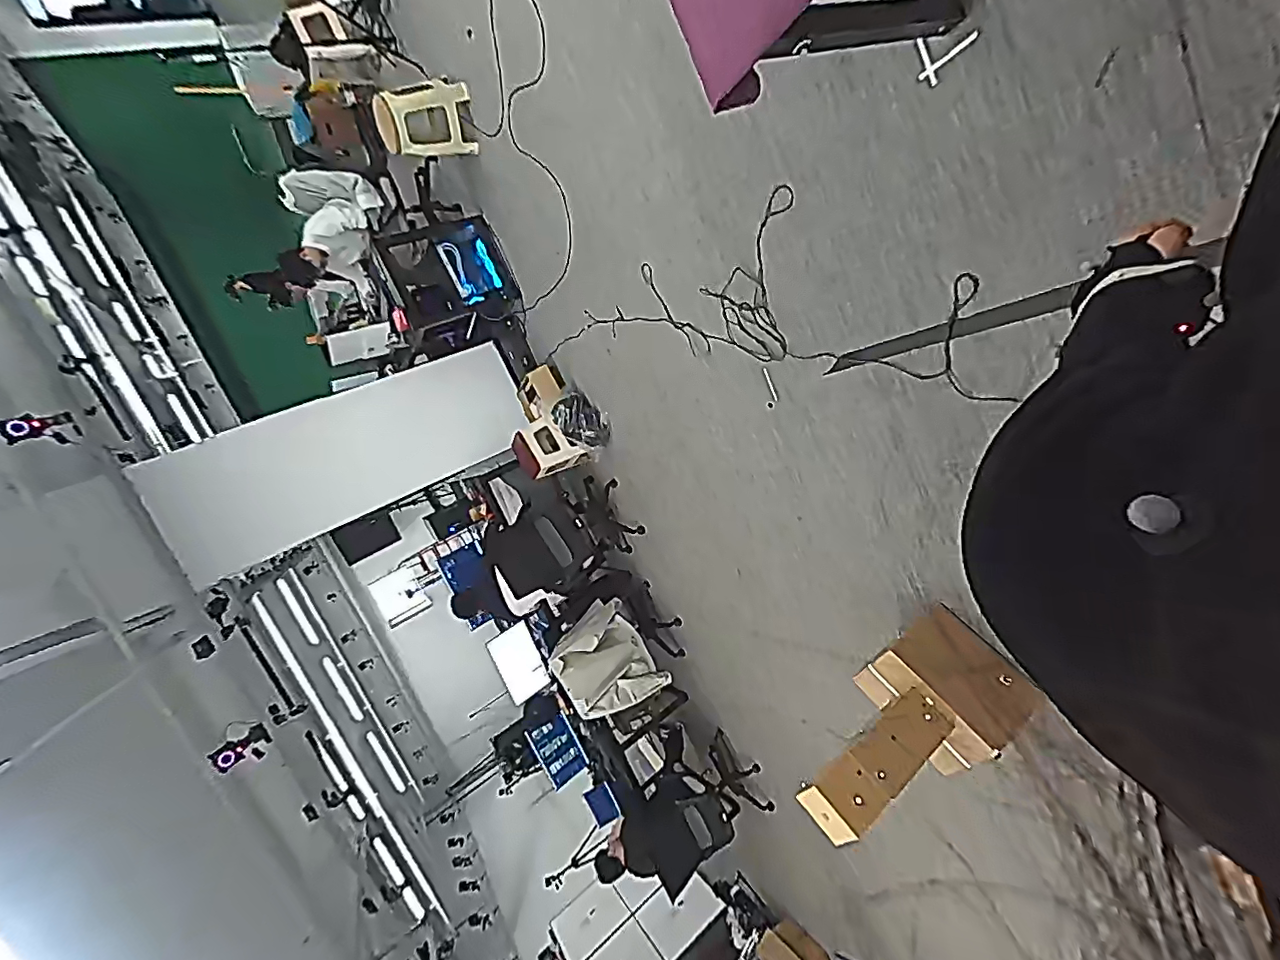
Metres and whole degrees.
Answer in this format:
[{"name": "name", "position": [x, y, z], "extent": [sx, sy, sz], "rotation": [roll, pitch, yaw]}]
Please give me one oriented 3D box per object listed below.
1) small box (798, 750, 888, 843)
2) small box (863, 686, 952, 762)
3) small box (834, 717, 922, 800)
[{"name": "small box", "position": [0.613, 0.948, 1.628], "extent": [0.168, 0.176, 0.179], "rotation": [47, 151, 28]}, {"name": "small box", "position": [0.875, 0.809, 1.767], "extent": [0.168, 0.176, 0.179], "rotation": [47, 150, 28]}, {"name": "small box", "position": [0.744, 0.882, 1.698], "extent": [0.168, 0.176, 0.179], "rotation": [47, 151, 27]}]
